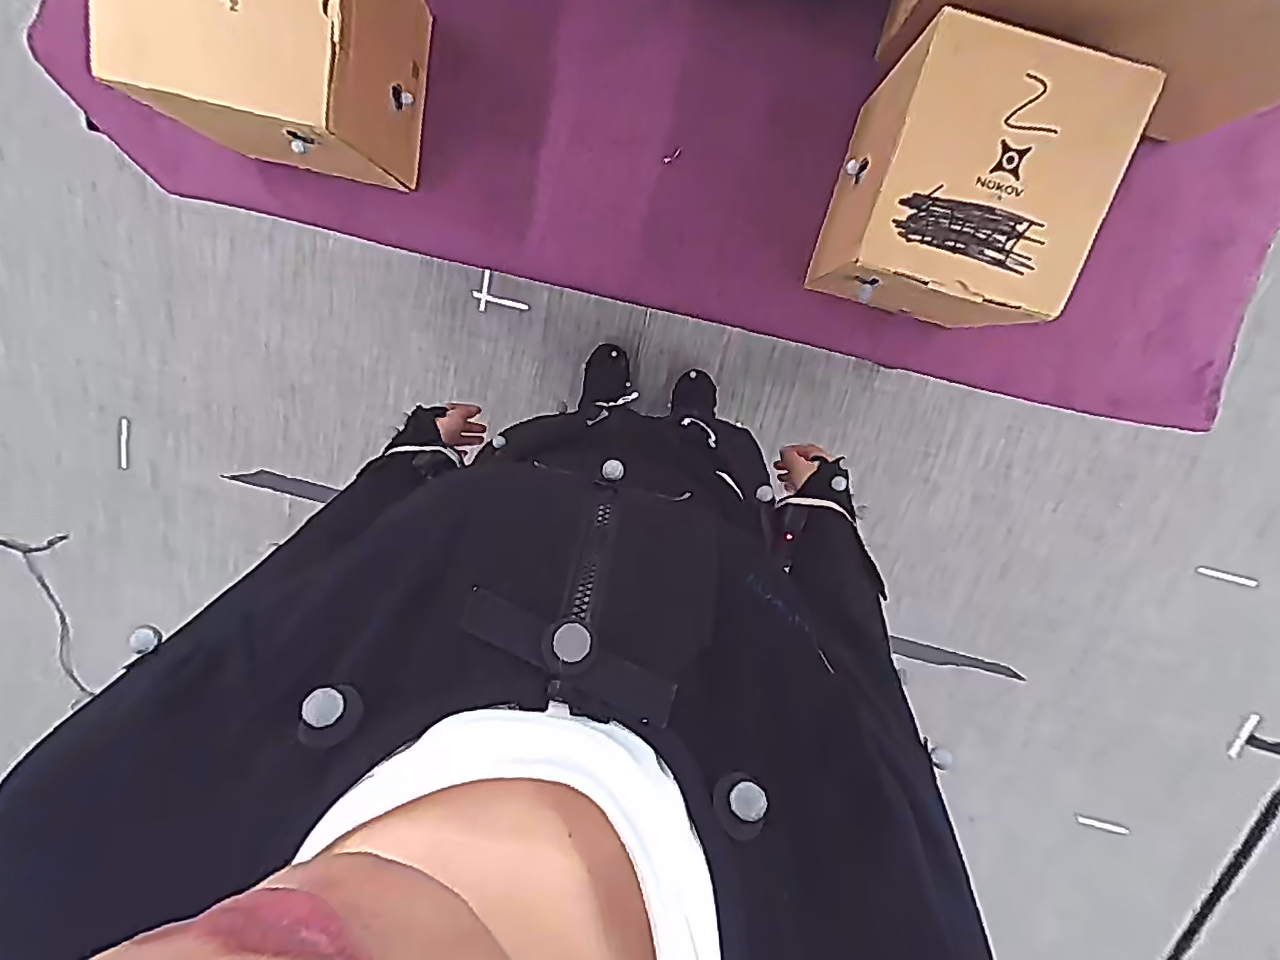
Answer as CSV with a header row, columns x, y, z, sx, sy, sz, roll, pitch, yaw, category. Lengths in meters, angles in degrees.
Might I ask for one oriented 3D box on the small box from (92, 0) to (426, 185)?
x,y,z,sx,sy,sz,roll,pitch,yaw,category
-0.312,-0.382,0.473,0.179,0.176,0.168,11,103,-4,small box
